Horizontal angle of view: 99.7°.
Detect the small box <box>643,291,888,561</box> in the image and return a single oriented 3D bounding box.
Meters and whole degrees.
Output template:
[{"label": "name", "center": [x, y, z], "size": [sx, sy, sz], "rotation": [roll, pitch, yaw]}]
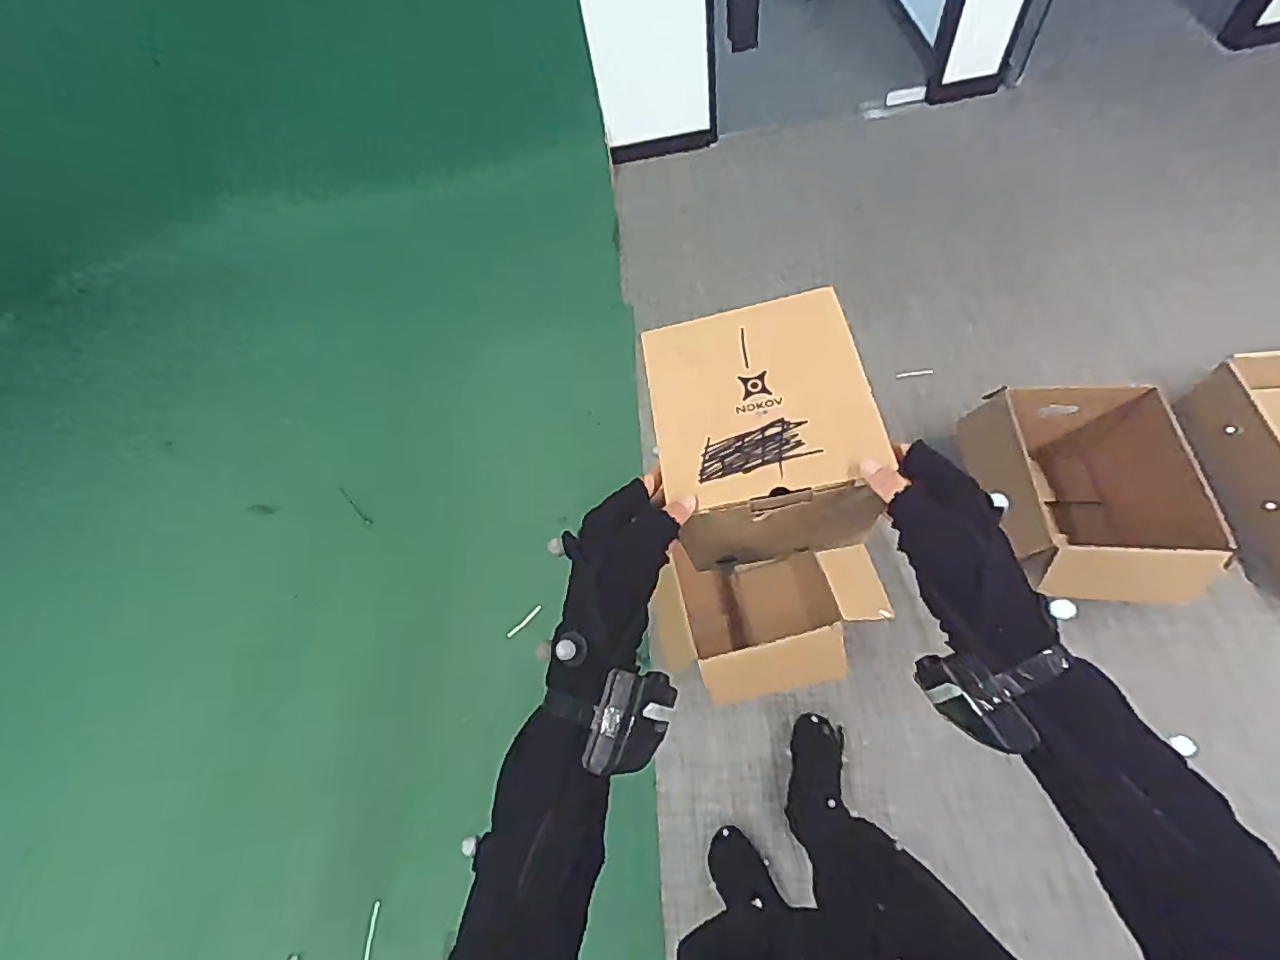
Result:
[{"label": "small box", "center": [0.108, -0.033, 0.496], "size": [0.168, 0.176, 0.179], "rotation": [-12, 63, 10]}]
